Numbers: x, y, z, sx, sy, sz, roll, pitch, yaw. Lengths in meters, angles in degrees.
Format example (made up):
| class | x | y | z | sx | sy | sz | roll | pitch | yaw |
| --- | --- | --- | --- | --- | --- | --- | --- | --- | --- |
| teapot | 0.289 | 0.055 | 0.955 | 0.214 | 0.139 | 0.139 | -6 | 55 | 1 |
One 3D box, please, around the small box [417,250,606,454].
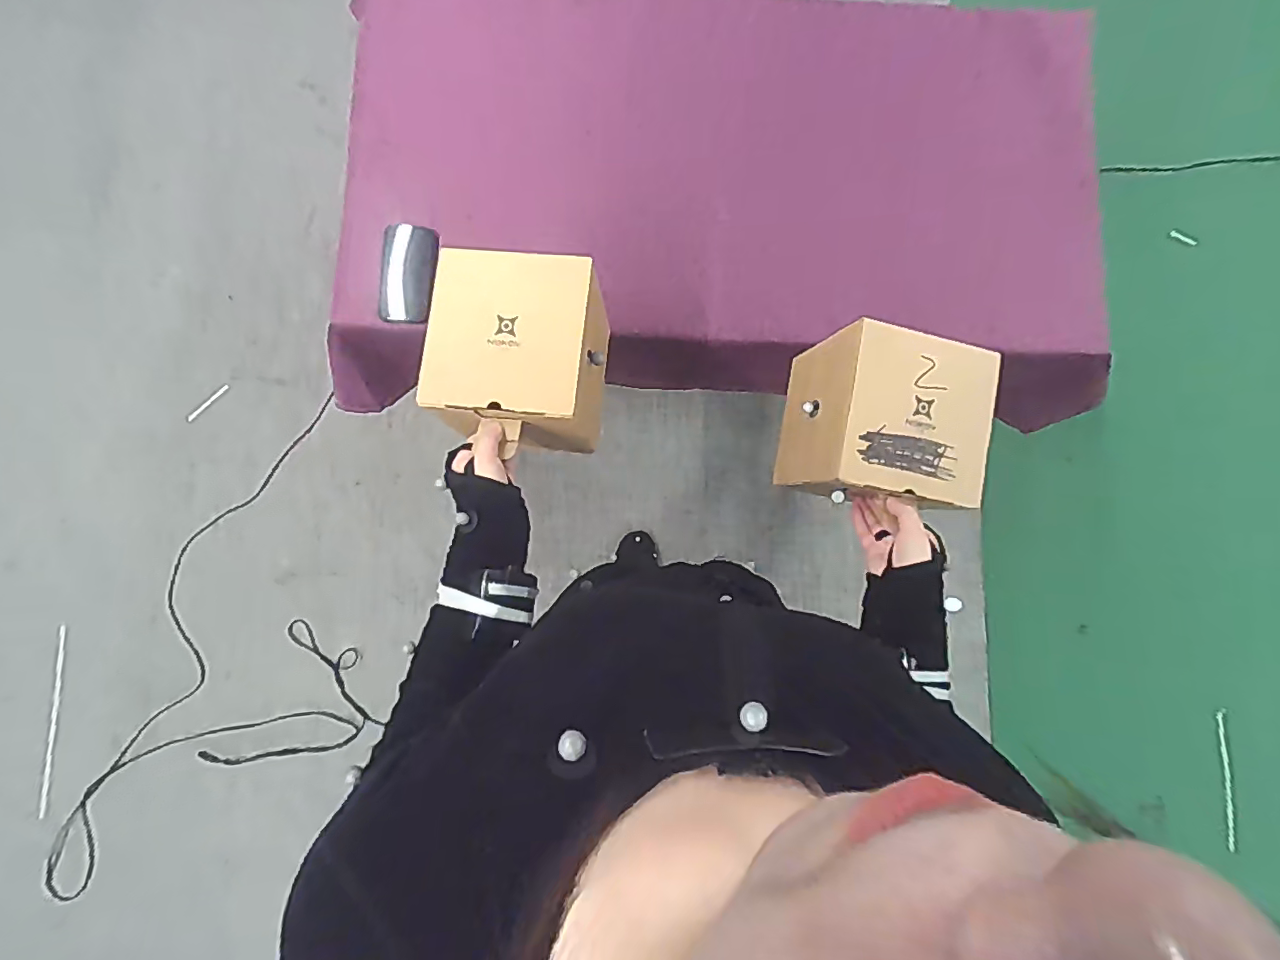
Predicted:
| class | x | y | z | sx | sy | sz | roll | pitch | yaw |
| --- | --- | --- | --- | --- | --- | --- | --- | --- | --- |
| small box | -0.134 | -0.138 | 0.633 | 0.168 | 0.176 | 0.179 | 6 | 82 | 3 |
